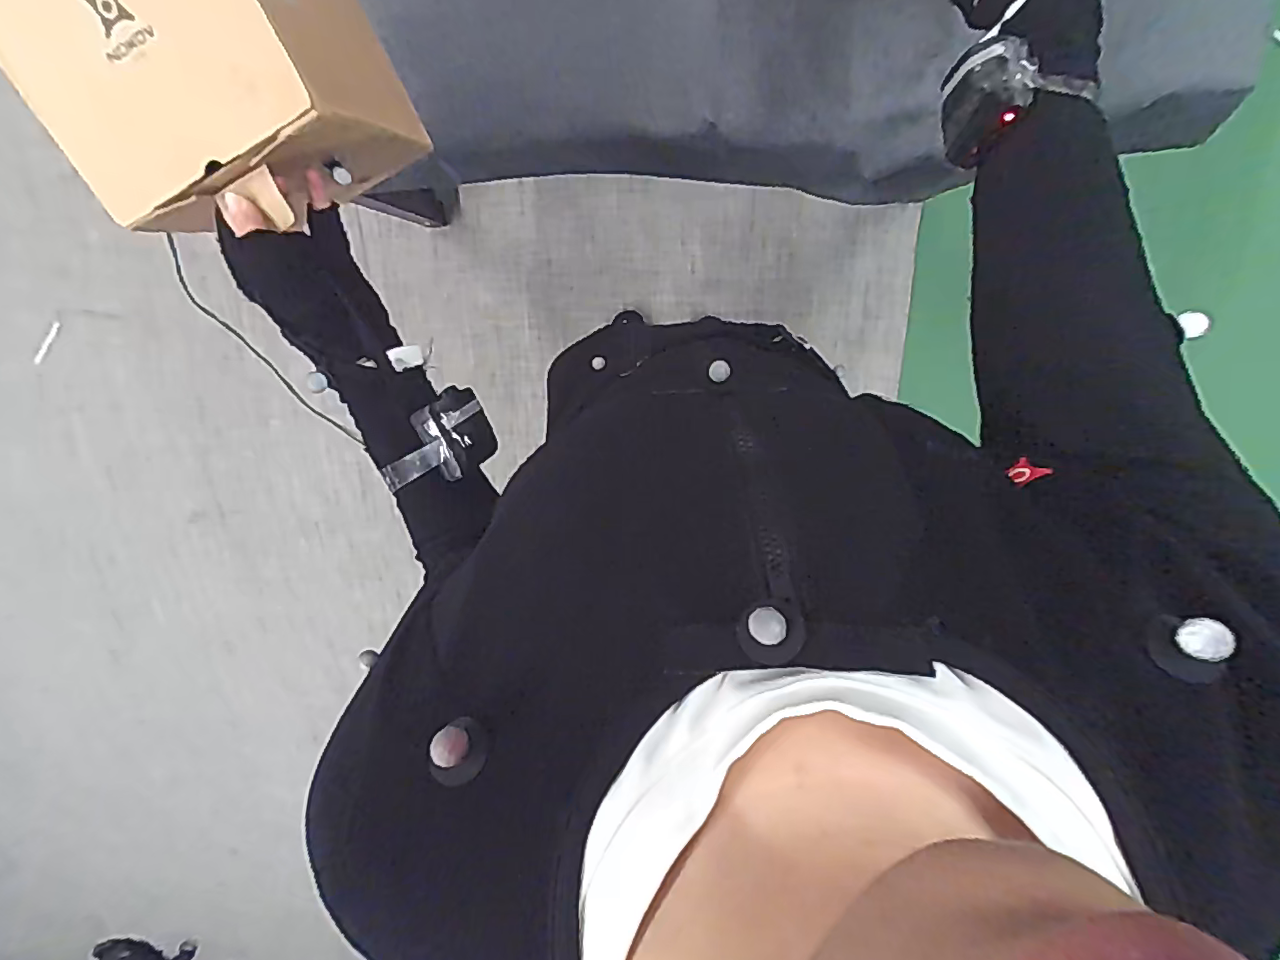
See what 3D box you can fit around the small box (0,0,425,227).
[{"bbox_3d":[-0.285,-0.297,0.373,0.168,0.176,0.179,-21,111,13],"label":"small box"}]
